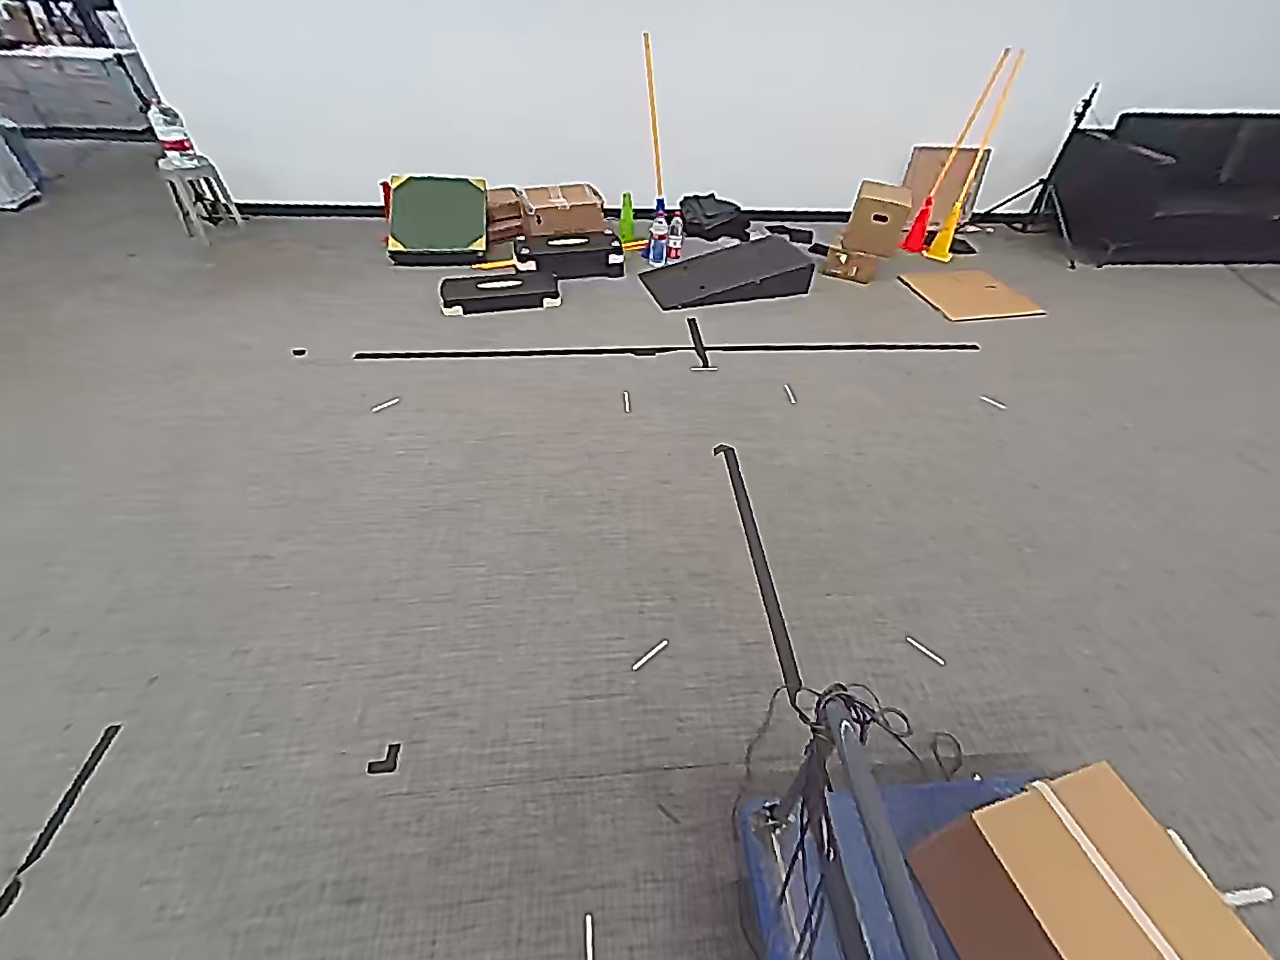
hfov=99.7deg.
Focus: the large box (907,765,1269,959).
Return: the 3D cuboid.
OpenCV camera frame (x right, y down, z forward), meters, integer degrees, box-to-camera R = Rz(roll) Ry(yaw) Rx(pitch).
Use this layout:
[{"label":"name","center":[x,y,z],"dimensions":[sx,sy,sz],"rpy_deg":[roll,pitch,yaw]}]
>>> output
[{"label":"large box","center":[0.763,0.790,0.937],"dimensions":[0.320,0.320,0.408],"rpy_deg":[-11,47,-13]}]
